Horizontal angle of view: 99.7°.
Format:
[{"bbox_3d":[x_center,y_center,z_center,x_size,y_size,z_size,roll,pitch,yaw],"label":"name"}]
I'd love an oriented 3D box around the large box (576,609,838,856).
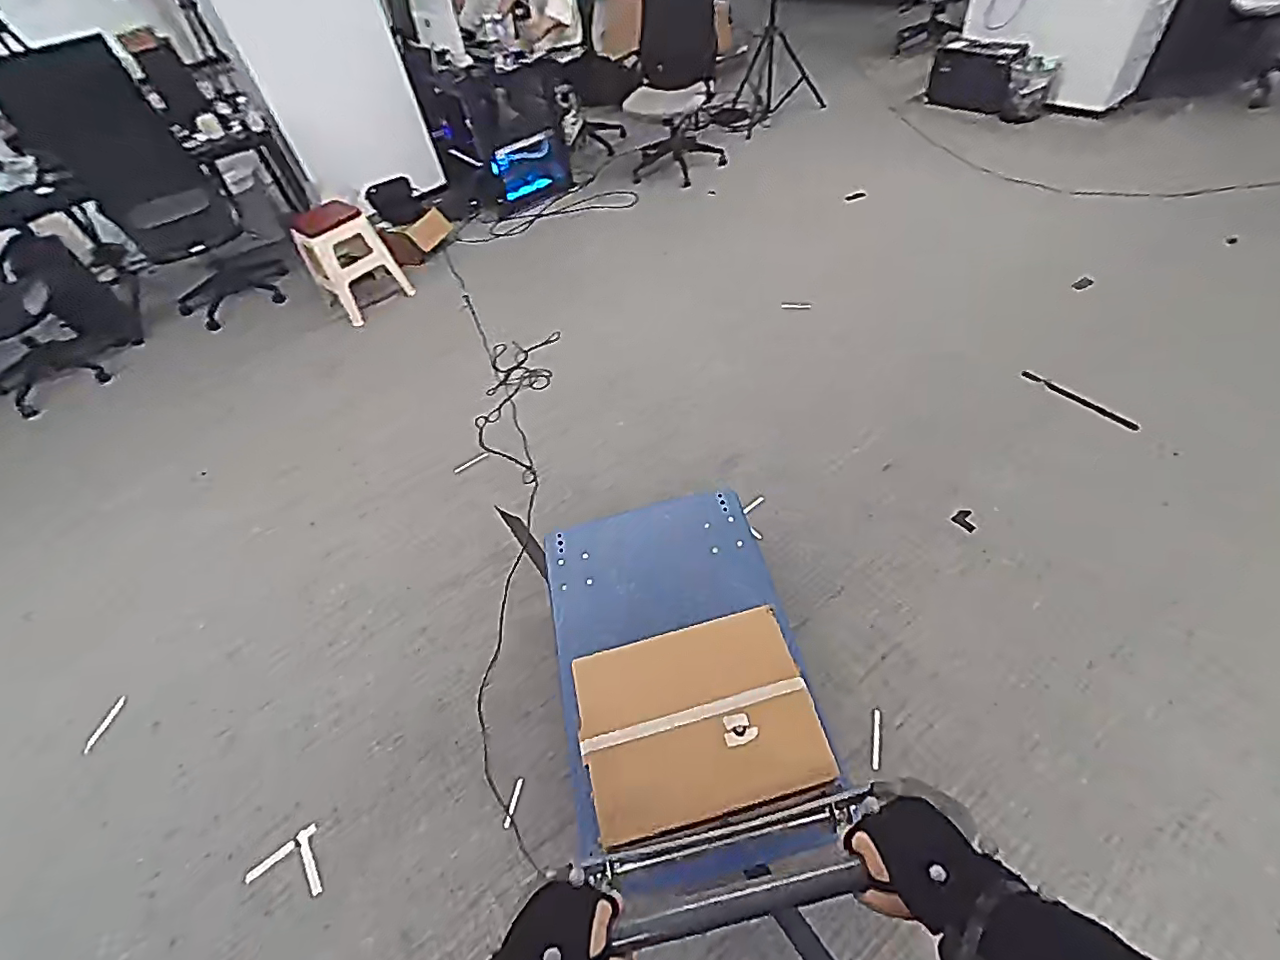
[{"bbox_3d":[0.119,0.515,1.091,0.408,0.320,0.320,-16,55,-4],"label":"large box"}]
